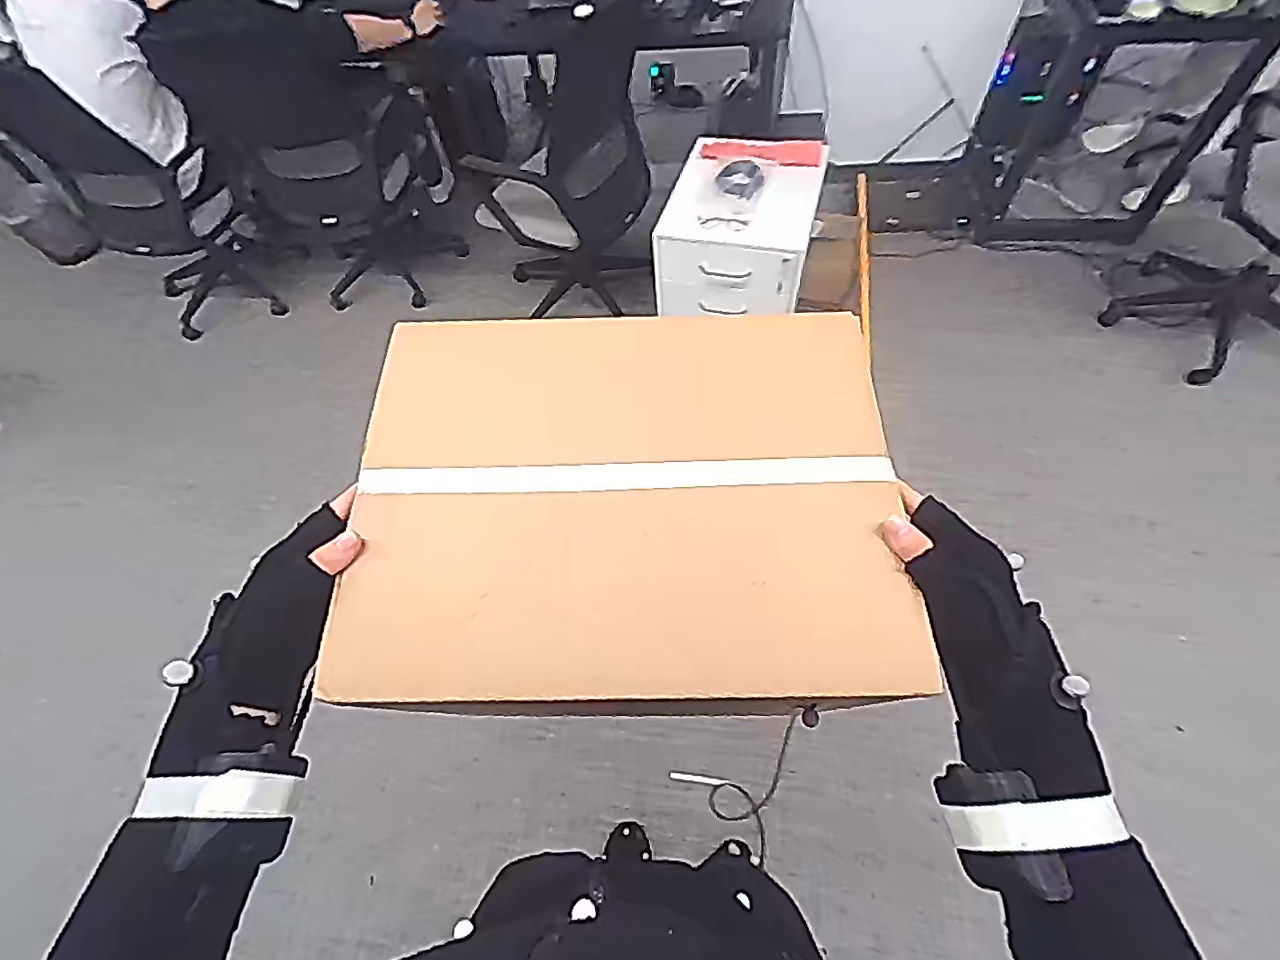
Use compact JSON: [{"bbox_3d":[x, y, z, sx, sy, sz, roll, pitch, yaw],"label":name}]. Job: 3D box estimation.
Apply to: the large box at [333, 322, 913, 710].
[{"bbox_3d":[-0.011,0.066,0.561,0.408,0.320,0.320,-2,65,1],"label":"large box"}]
